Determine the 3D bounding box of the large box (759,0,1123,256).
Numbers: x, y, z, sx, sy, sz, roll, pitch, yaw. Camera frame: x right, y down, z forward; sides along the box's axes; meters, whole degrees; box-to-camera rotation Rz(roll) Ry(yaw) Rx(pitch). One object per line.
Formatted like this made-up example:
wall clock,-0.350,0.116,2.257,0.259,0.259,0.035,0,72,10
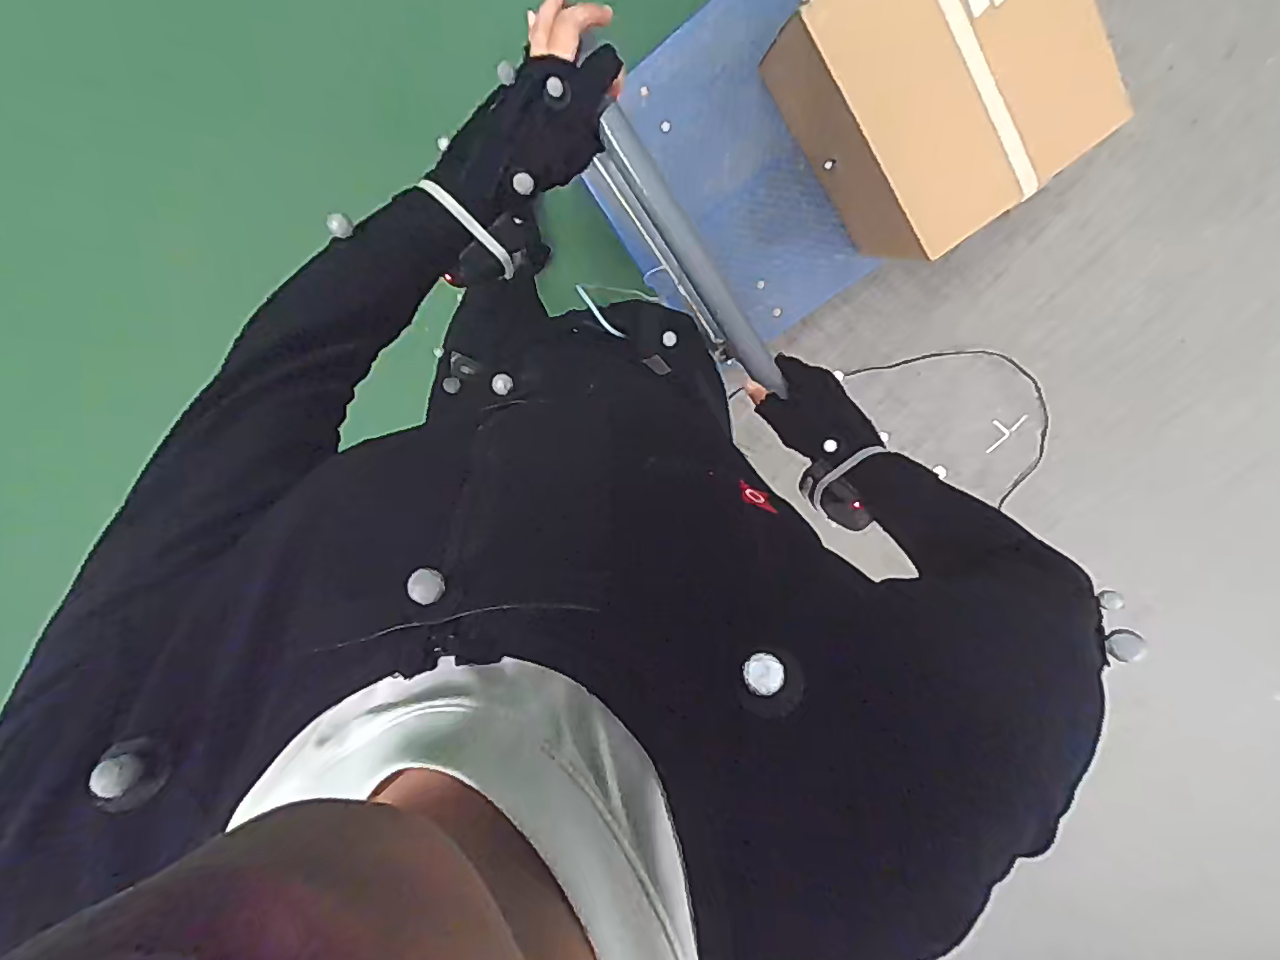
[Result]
large box,0.448,-0.633,0.877,0.320,0.320,0.408,-34,109,15
